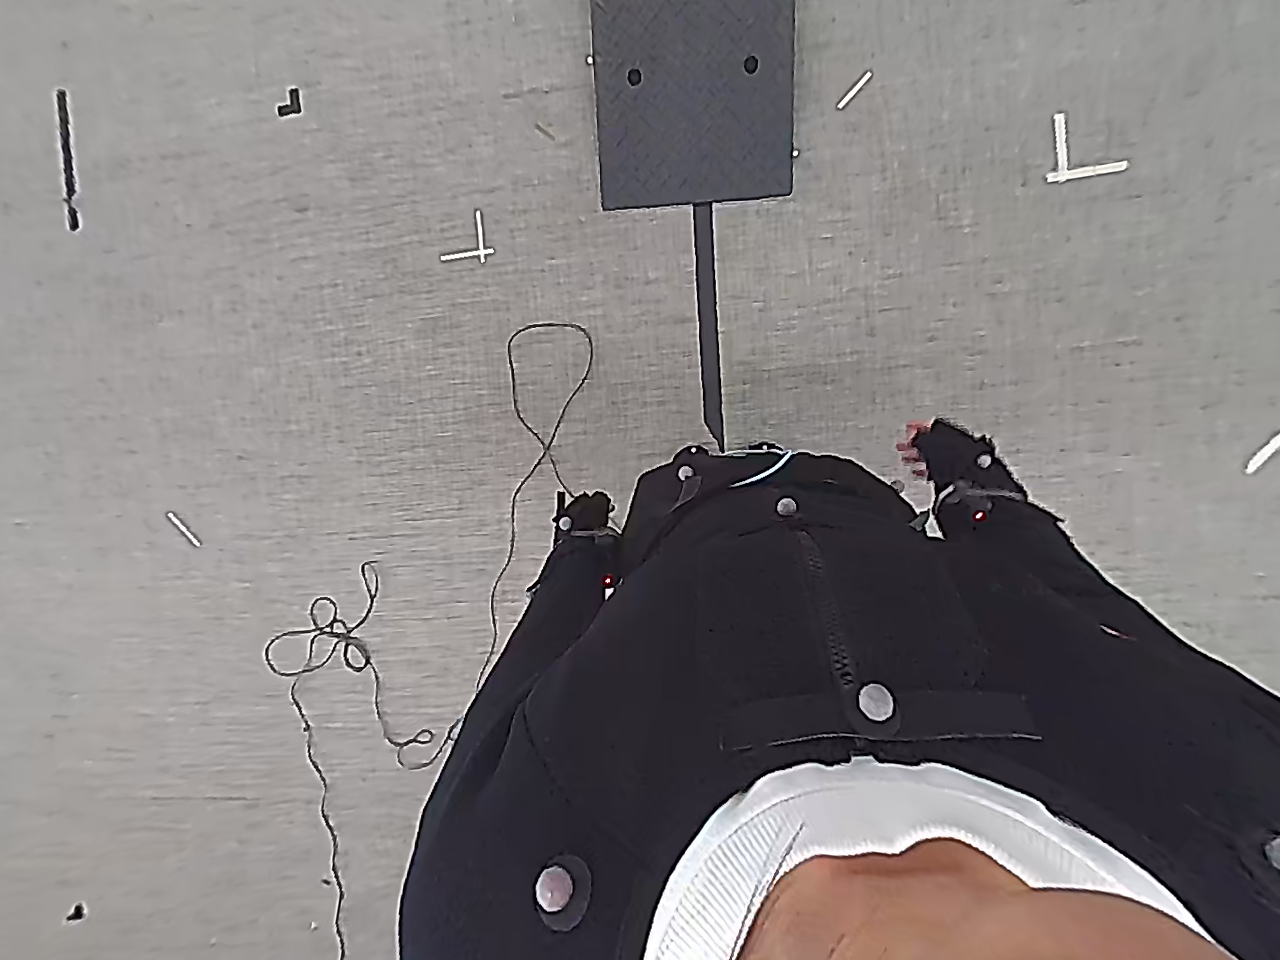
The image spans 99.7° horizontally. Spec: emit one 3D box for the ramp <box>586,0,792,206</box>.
[{"bbox_3d":[0.112,-1.210,1.277,0.509,0.206,0.991,-3,94,6],"label":"ramp"}]
